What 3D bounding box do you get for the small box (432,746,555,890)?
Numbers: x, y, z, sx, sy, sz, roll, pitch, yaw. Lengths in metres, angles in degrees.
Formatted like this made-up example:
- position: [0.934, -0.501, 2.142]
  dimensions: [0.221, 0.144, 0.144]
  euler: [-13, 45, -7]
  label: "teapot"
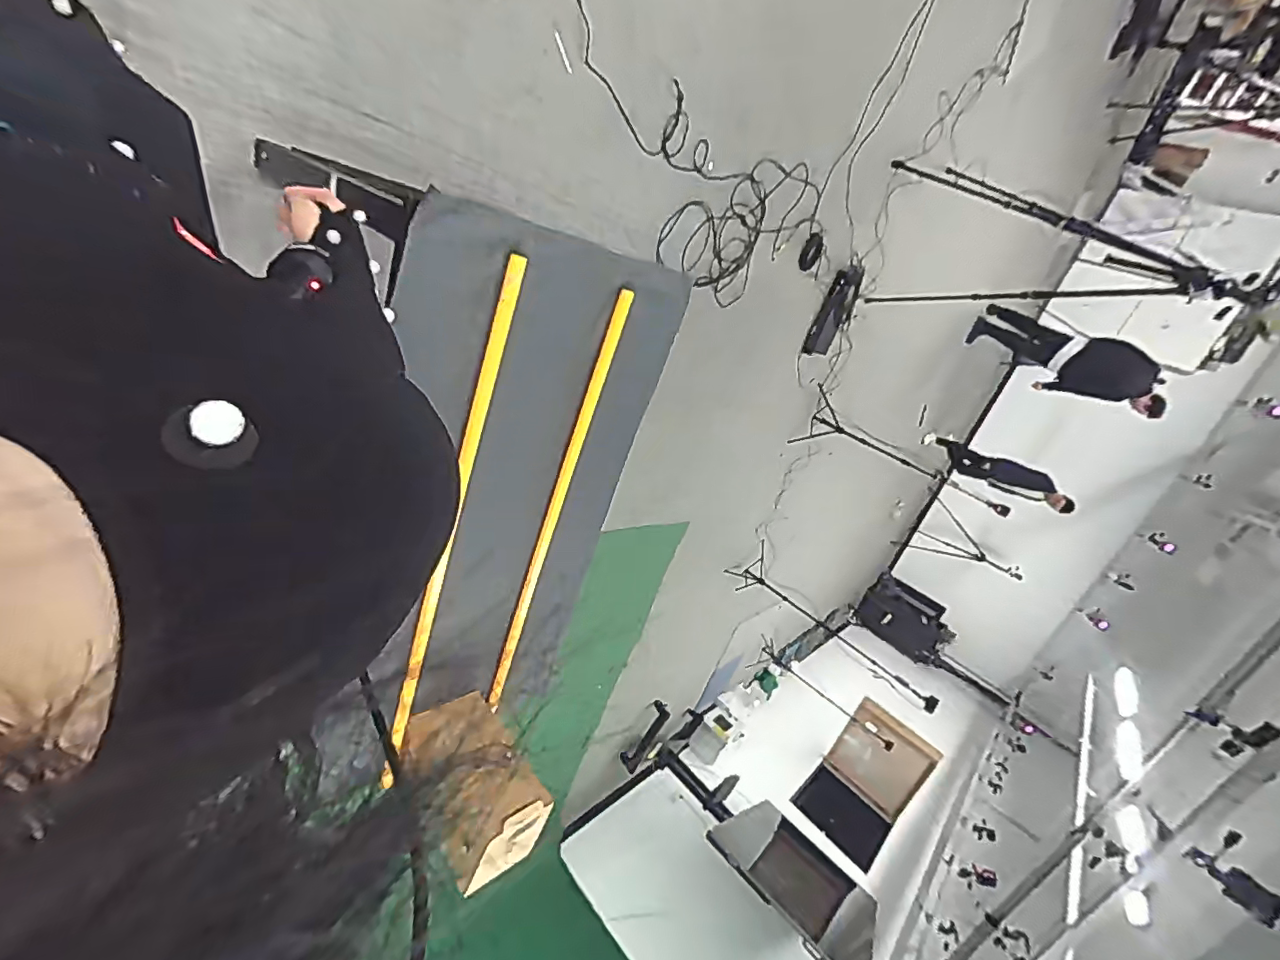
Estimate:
- position: [-0.318, 0.703, 1.155]
  dimensions: [0.168, 0.176, 0.179]
  euler: [1, 118, -51]
  label: "small box"
